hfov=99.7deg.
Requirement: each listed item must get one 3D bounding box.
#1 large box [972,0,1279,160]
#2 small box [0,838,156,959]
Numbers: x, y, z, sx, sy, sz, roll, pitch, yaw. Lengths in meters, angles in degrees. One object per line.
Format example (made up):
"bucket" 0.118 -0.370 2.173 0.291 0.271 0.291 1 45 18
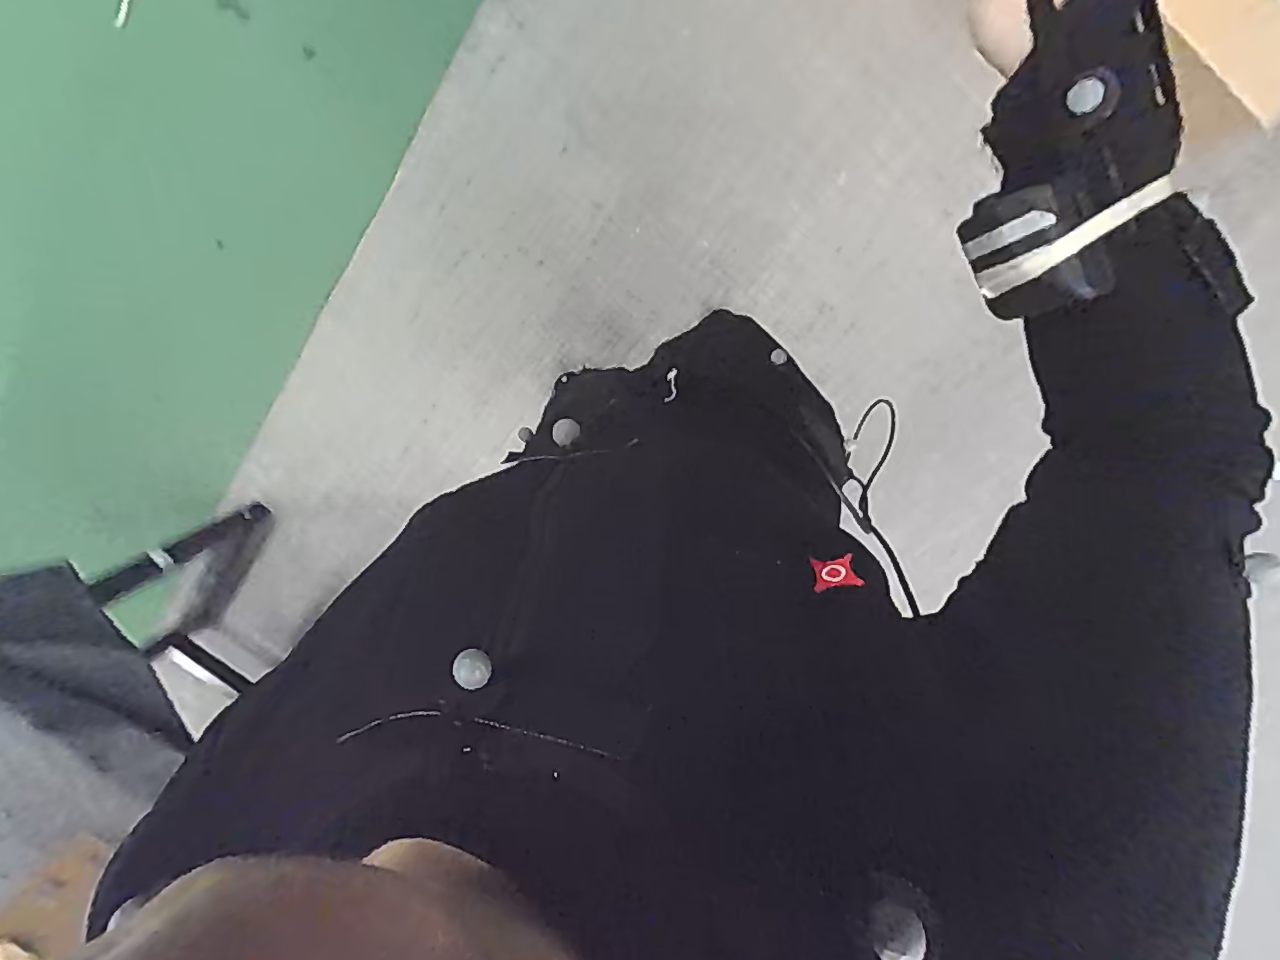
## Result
"large box" 0.828 -0.783 0.822 0.408 0.320 0.320 38 111 -8
"small box" -1.017 0.780 0.952 0.168 0.176 0.179 42 111 -7
